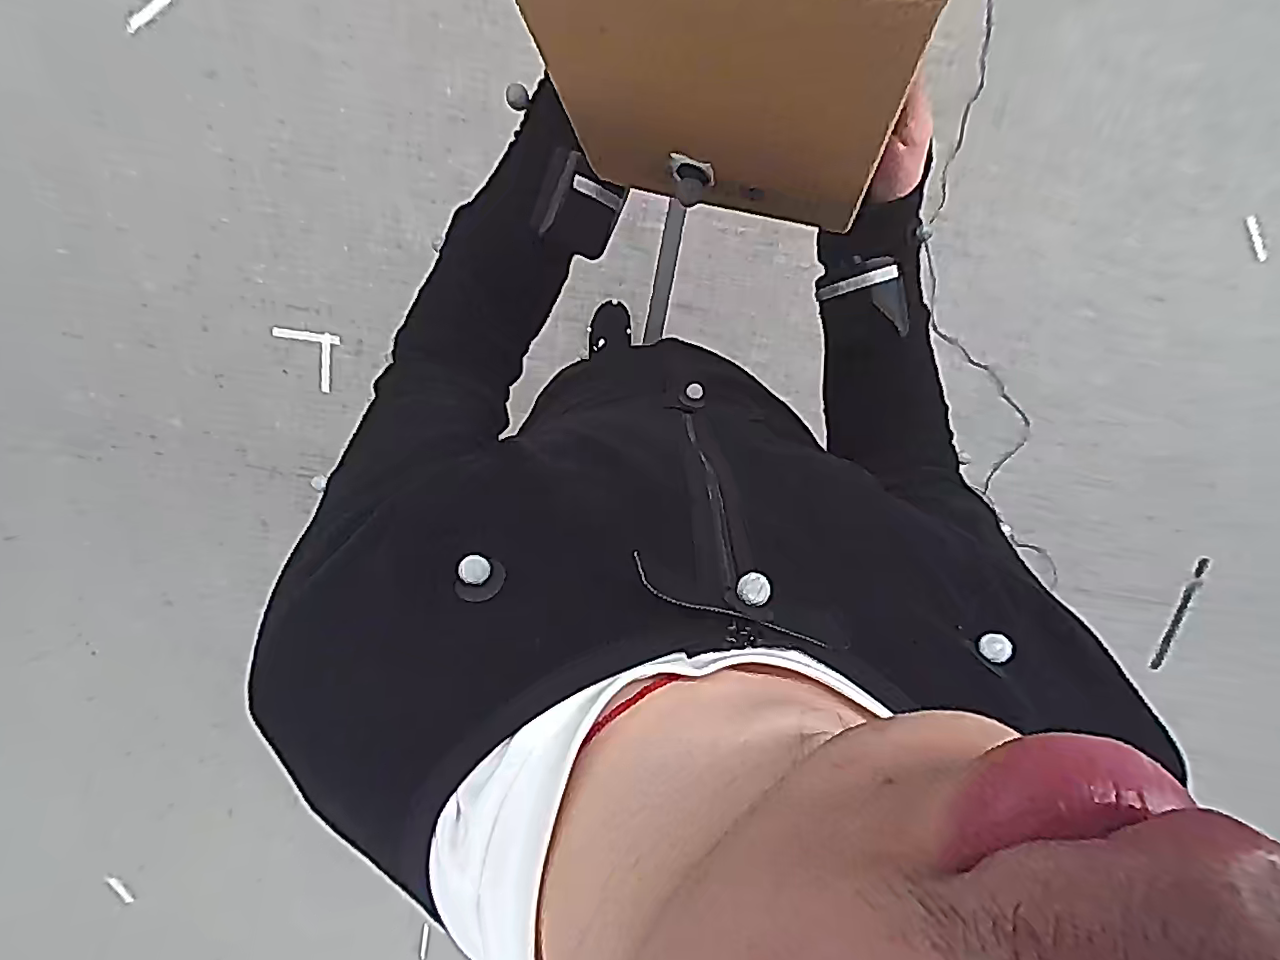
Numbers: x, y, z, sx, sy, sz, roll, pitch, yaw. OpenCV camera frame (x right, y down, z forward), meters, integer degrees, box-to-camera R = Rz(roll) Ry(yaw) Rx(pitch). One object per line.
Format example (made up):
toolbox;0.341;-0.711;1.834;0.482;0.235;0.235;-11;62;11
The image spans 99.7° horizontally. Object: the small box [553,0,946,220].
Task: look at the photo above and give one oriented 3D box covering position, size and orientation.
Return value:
small box;0.062;-0.265;0.269;0.168;0.176;0.179;15;94;10
